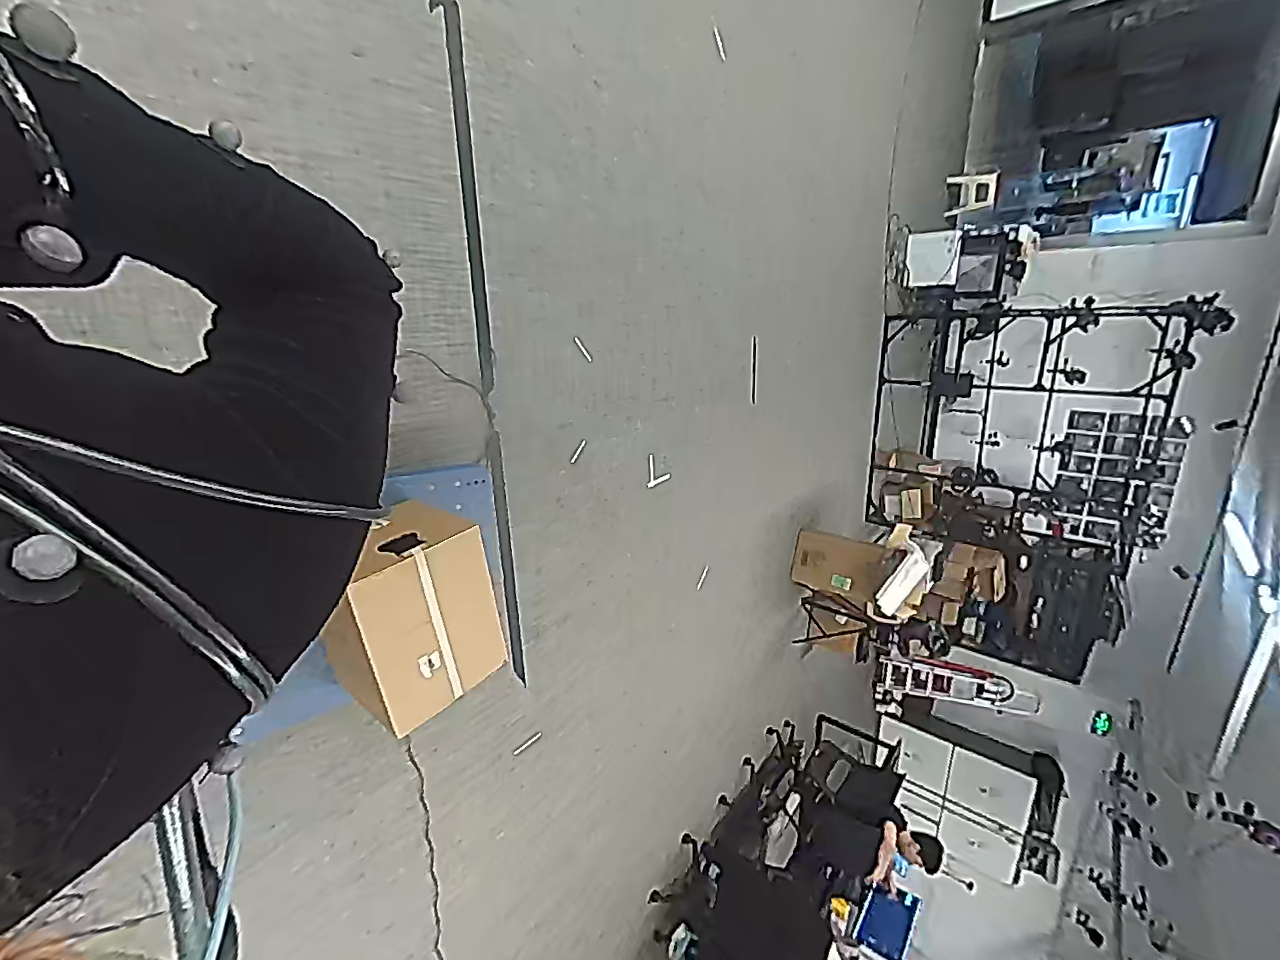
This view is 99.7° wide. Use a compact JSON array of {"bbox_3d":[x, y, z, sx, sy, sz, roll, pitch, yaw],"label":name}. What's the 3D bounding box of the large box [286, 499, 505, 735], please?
[{"bbox_3d":[-0.579,0.307,1.312,0.320,0.320,0.408,-28,121,-44],"label":"large box"}]
